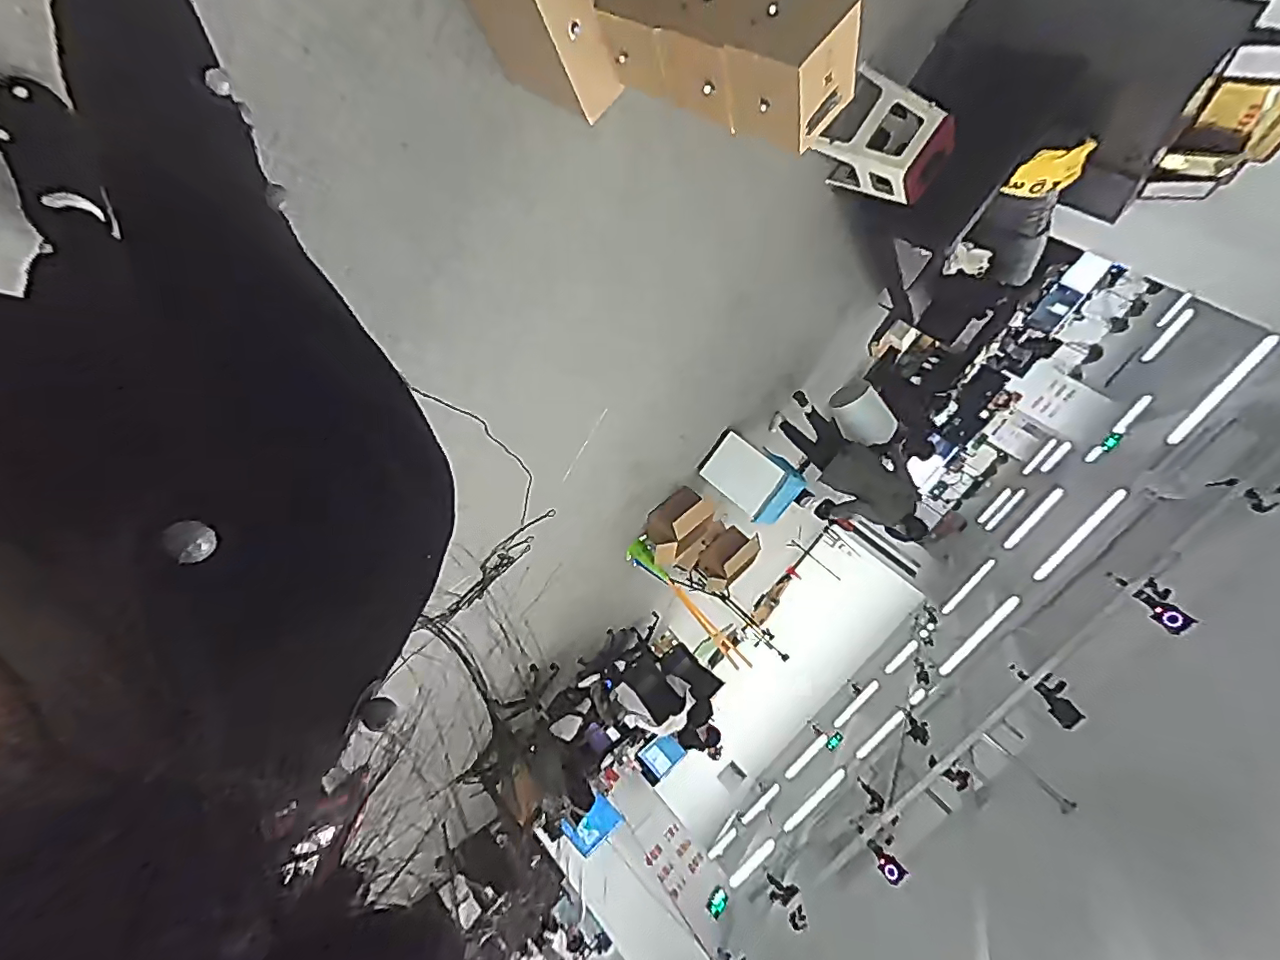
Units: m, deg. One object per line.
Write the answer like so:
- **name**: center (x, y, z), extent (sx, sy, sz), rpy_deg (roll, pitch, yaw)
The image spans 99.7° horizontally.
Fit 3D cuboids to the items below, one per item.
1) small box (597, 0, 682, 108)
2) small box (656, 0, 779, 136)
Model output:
- **small box**: center (0.041, -0.941, 1.135), extent (0.179, 0.176, 0.168), rpy_deg (-50, 156, -2)
- **small box**: center (0.158, -0.844, 1.079), extent (0.168, 0.176, 0.179), rpy_deg (-49, 156, -3)
